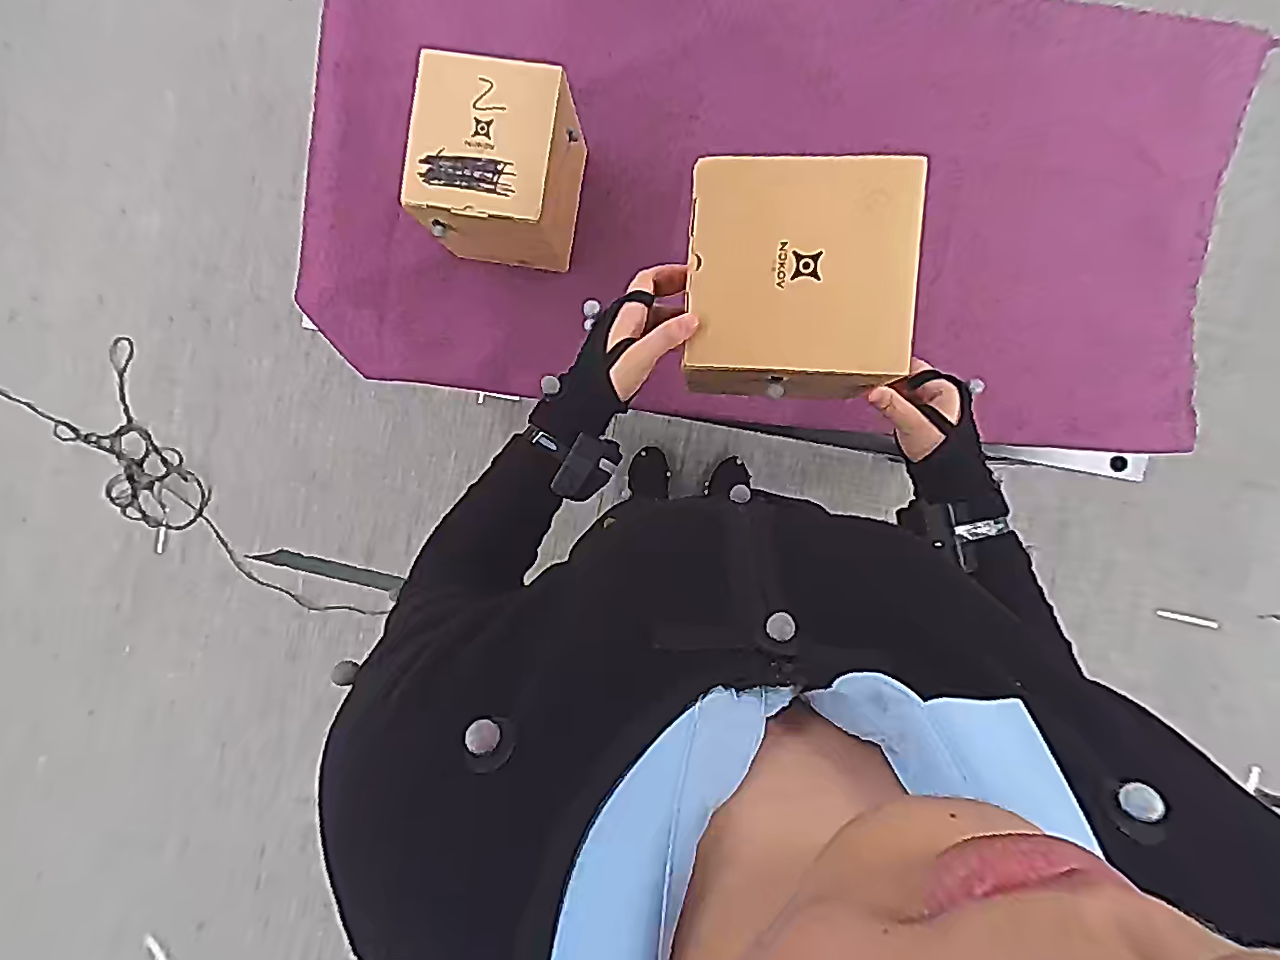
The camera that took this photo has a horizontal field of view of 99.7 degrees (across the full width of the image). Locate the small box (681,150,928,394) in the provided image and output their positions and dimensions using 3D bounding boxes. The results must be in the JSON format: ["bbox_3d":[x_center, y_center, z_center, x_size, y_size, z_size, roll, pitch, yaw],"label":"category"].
[{"bbox_3d":[0.134,-0.173,0.495,0.179,0.176,0.168,4,93,8],"label":"small box"}]
